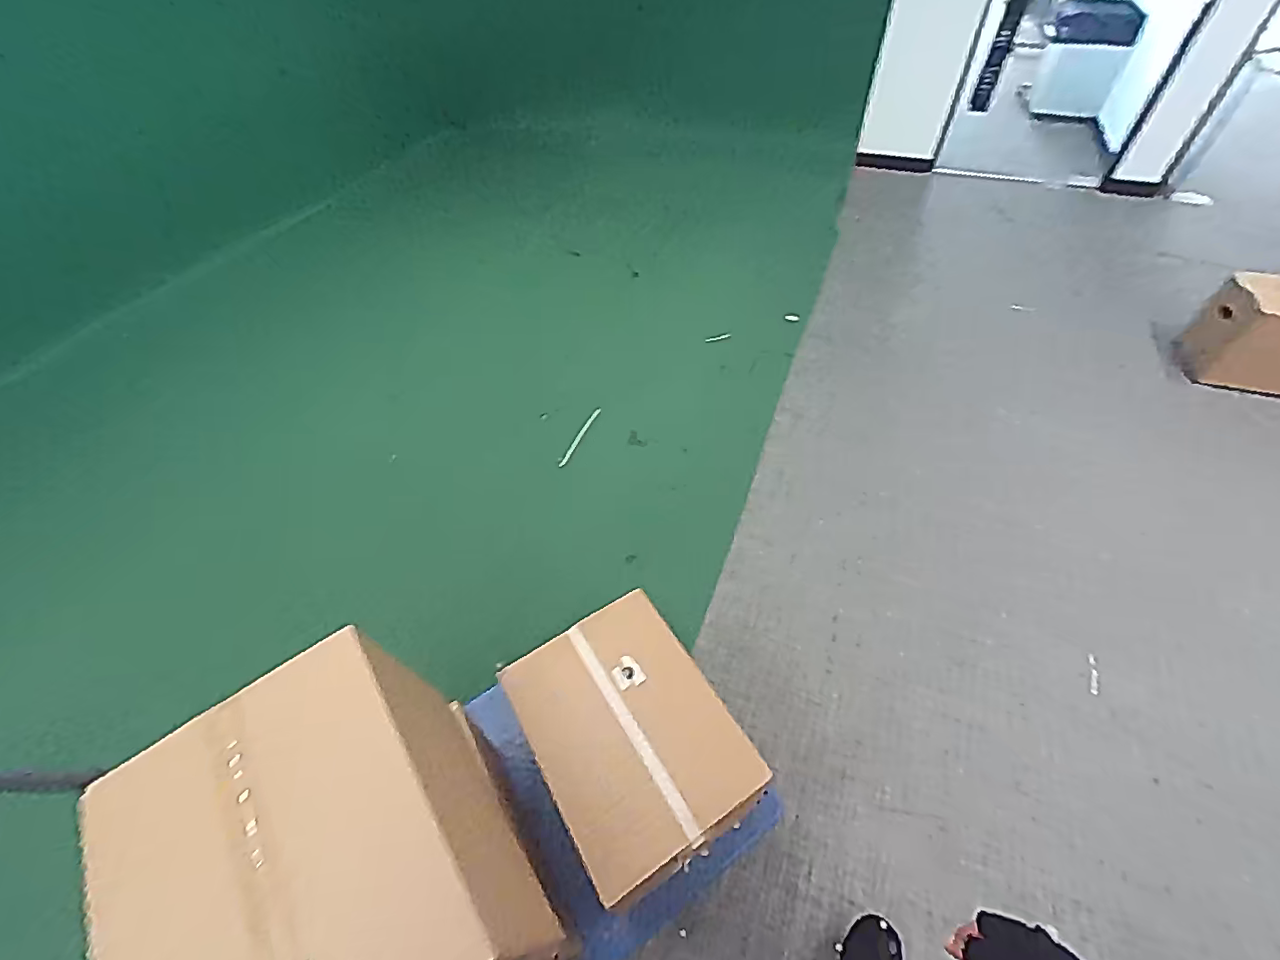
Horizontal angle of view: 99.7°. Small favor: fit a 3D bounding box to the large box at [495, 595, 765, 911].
[{"bbox_3d":[-0.021,0.511,1.034,0.320,0.320,0.408,-28,54,-18],"label":"large box"}]
